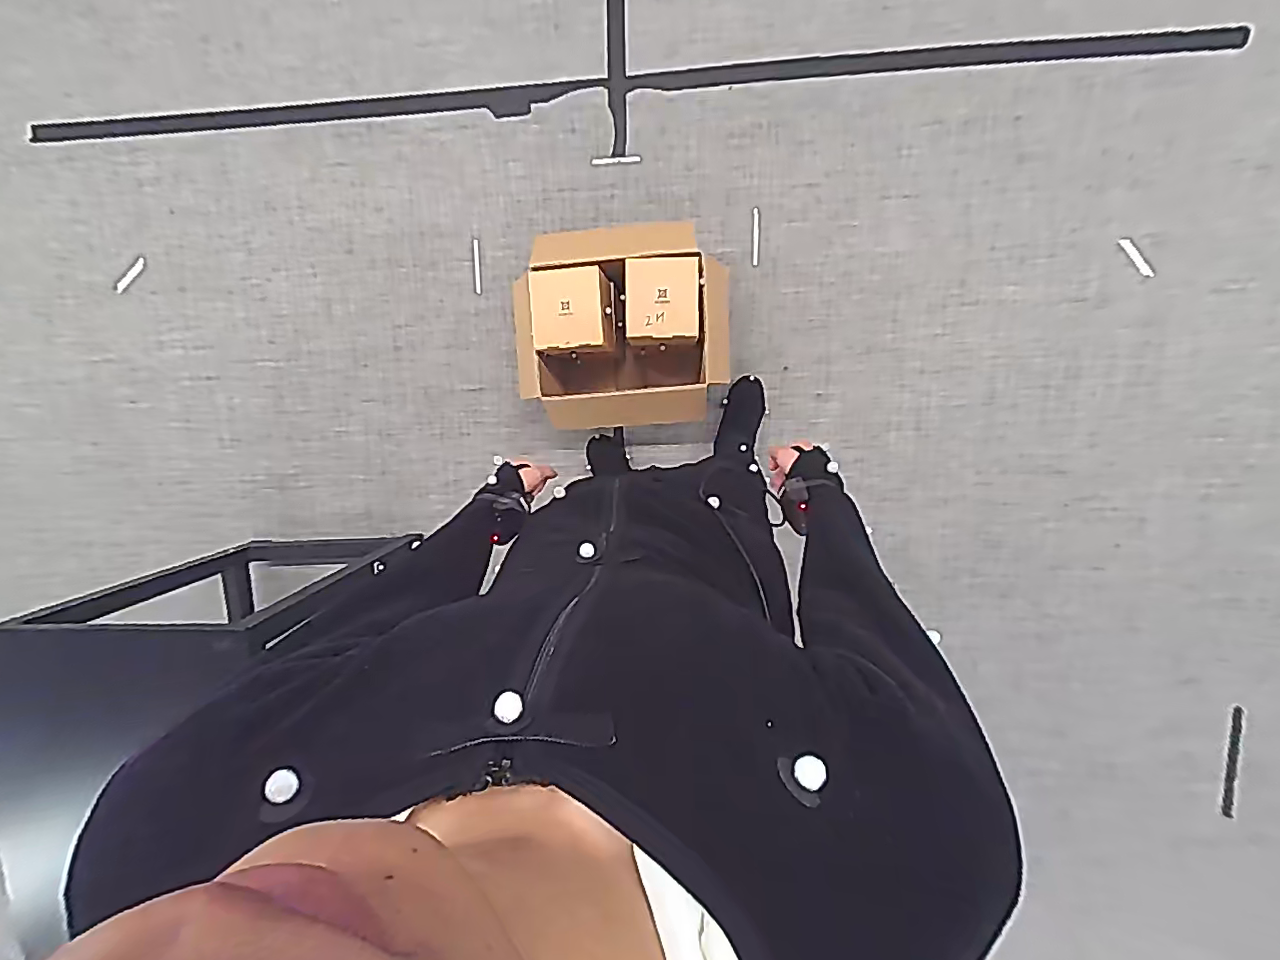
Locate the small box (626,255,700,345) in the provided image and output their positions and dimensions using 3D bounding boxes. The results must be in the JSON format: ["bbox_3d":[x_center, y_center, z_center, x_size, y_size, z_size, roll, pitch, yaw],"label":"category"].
[{"bbox_3d":[0.055,-0.421,1.281,0.168,0.176,0.179,1,98,4],"label":"small box"}]
